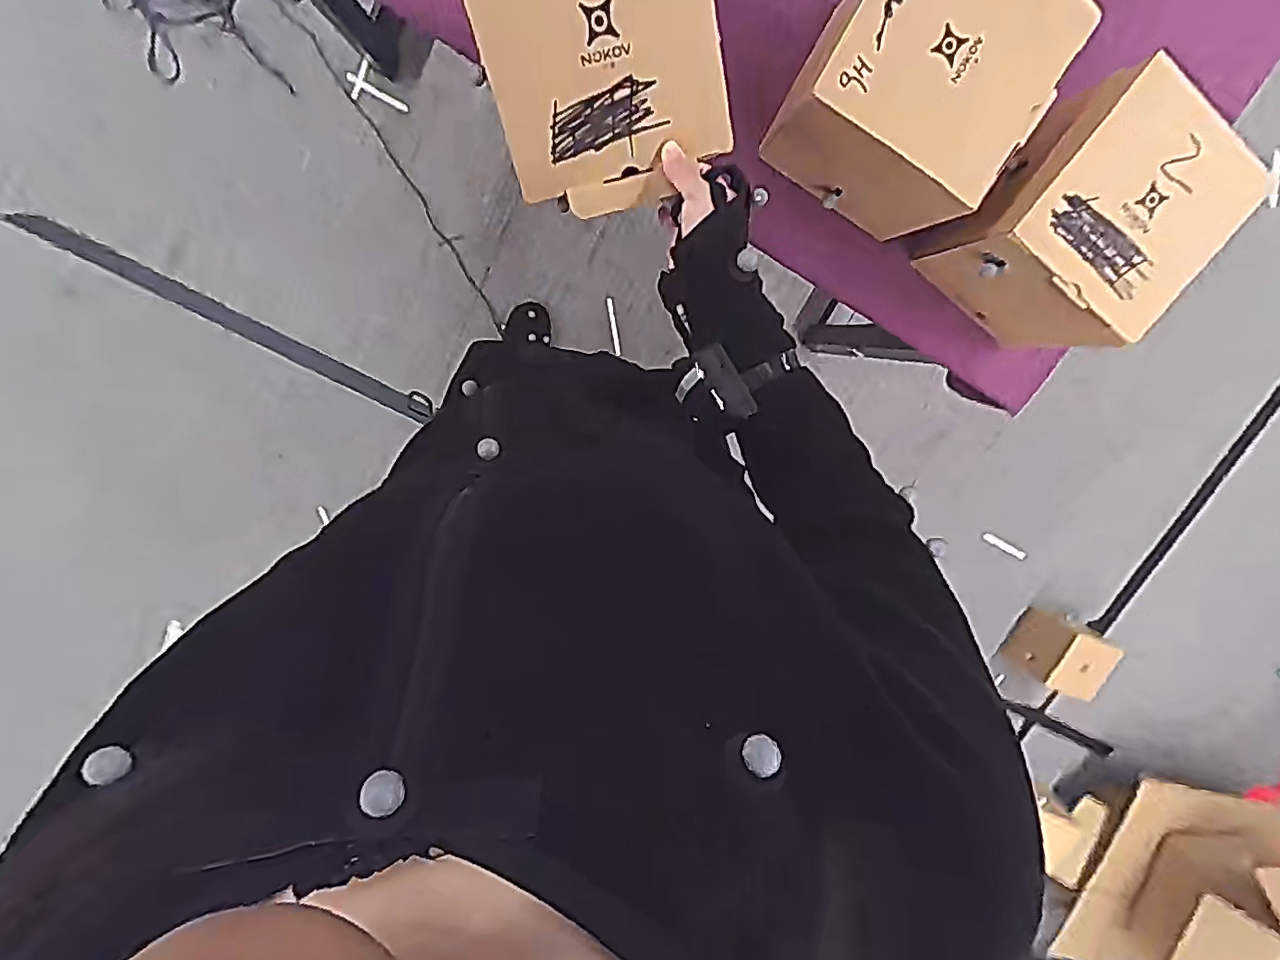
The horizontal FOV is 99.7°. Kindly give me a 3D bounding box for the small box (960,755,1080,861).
[{"bbox_3d":[1.059,0.915,1.520,0.179,0.176,0.168,26,104,-10],"label":"small box"}]

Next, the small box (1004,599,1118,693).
[{"bbox_3d":[1.211,0.480,1.576,0.168,0.176,0.179,20,103,-10],"label":"small box"}]

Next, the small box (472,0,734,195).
[{"bbox_3d":[-0.036,-0.343,0.432,0.168,0.176,0.179,-16,119,-3],"label":"small box"}]
